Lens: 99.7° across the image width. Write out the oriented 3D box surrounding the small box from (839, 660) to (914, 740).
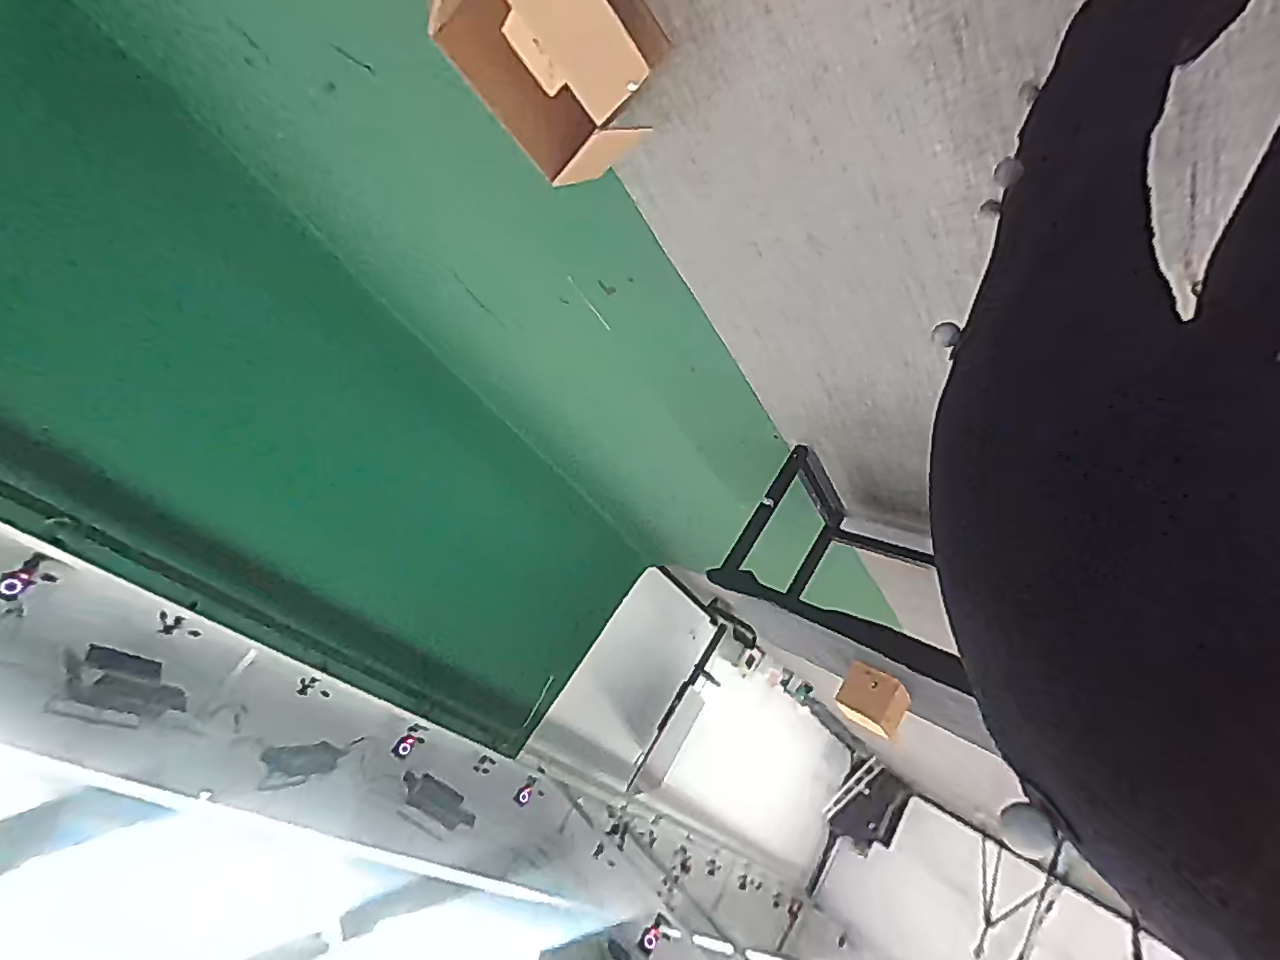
[{"bbox_3d":[0.827,0.761,1.879,0.168,0.176,0.179,17,154,48],"label":"small box"}]
